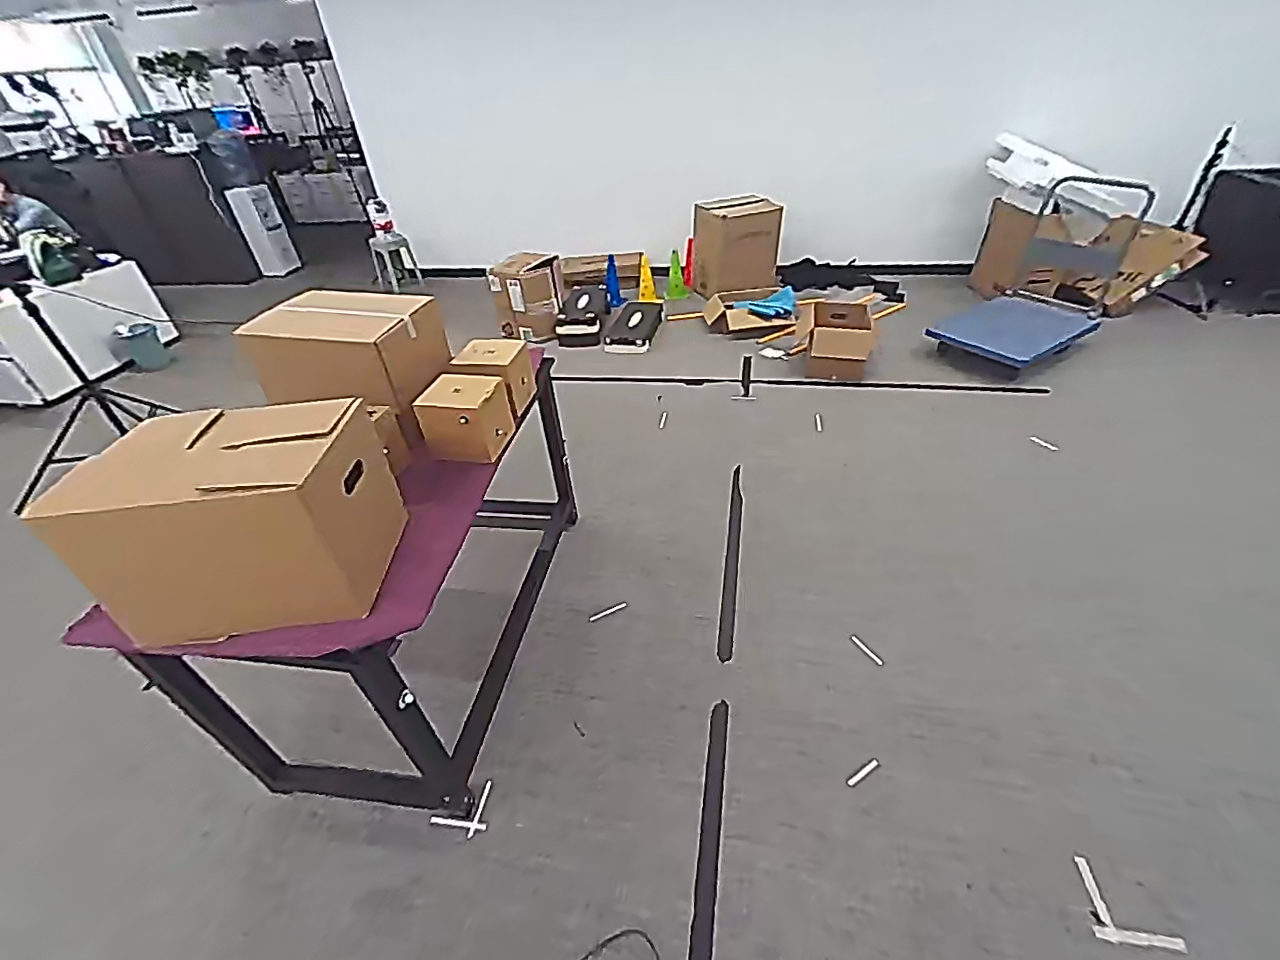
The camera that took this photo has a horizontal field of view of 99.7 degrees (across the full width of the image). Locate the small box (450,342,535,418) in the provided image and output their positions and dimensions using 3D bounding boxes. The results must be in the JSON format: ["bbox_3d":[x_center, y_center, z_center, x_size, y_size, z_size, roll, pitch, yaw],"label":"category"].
[{"bbox_3d":[-0.423,-0.293,1.588,0.179,0.176,0.168,3,38,10],"label":"small box"}]
